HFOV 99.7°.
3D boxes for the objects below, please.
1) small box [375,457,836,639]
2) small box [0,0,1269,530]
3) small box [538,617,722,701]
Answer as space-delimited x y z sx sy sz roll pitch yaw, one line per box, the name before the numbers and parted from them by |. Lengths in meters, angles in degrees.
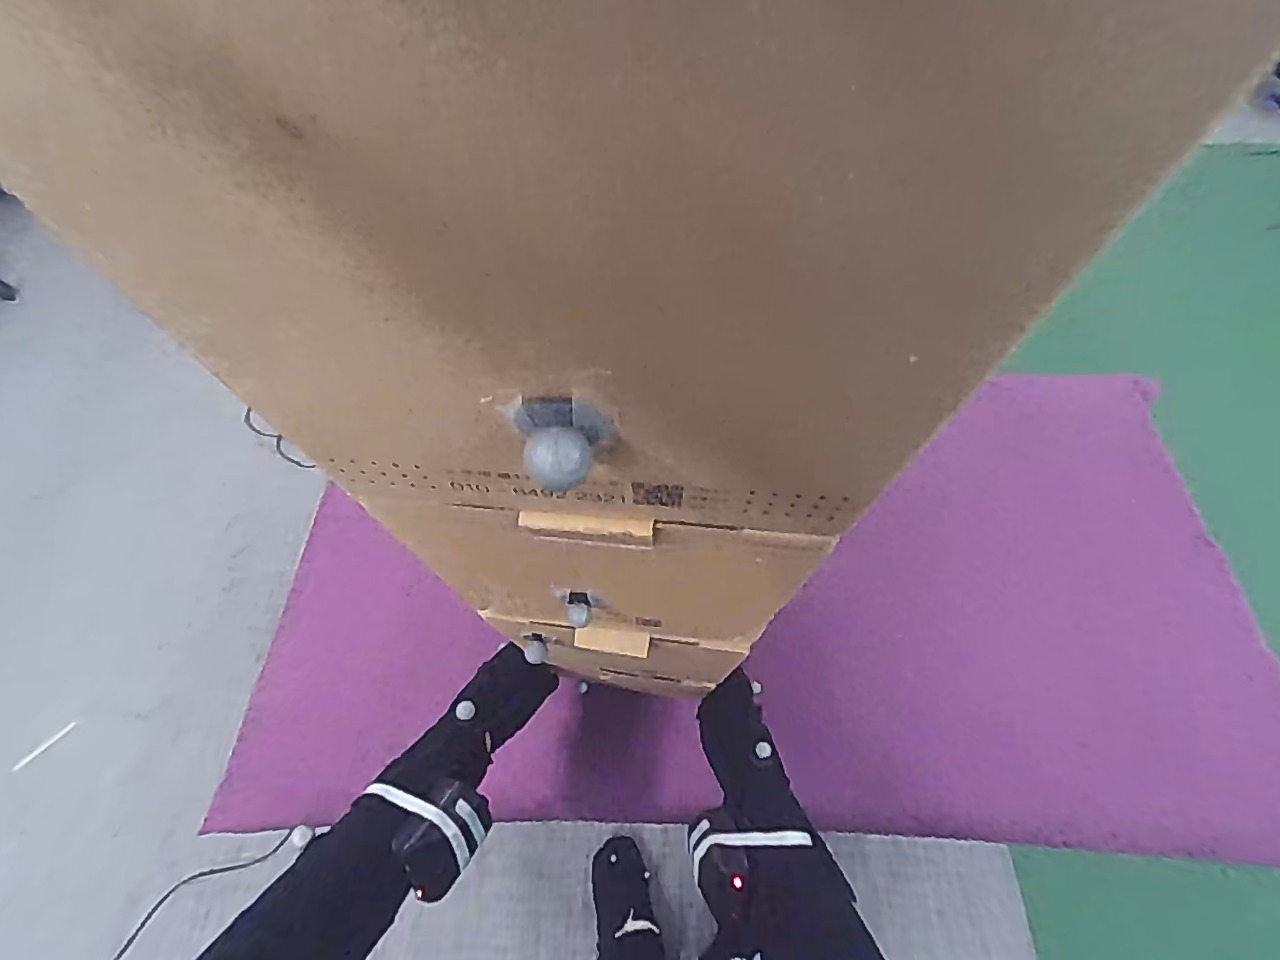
small box | -0.004 -0.026 0.295 0.168 0.176 0.179 5 63 4
small box | -0.007 -0.104 0.150 0.168 0.176 0.179 4 63 4
small box | 0.004 0.131 0.583 0.168 0.176 0.179 8 63 5
